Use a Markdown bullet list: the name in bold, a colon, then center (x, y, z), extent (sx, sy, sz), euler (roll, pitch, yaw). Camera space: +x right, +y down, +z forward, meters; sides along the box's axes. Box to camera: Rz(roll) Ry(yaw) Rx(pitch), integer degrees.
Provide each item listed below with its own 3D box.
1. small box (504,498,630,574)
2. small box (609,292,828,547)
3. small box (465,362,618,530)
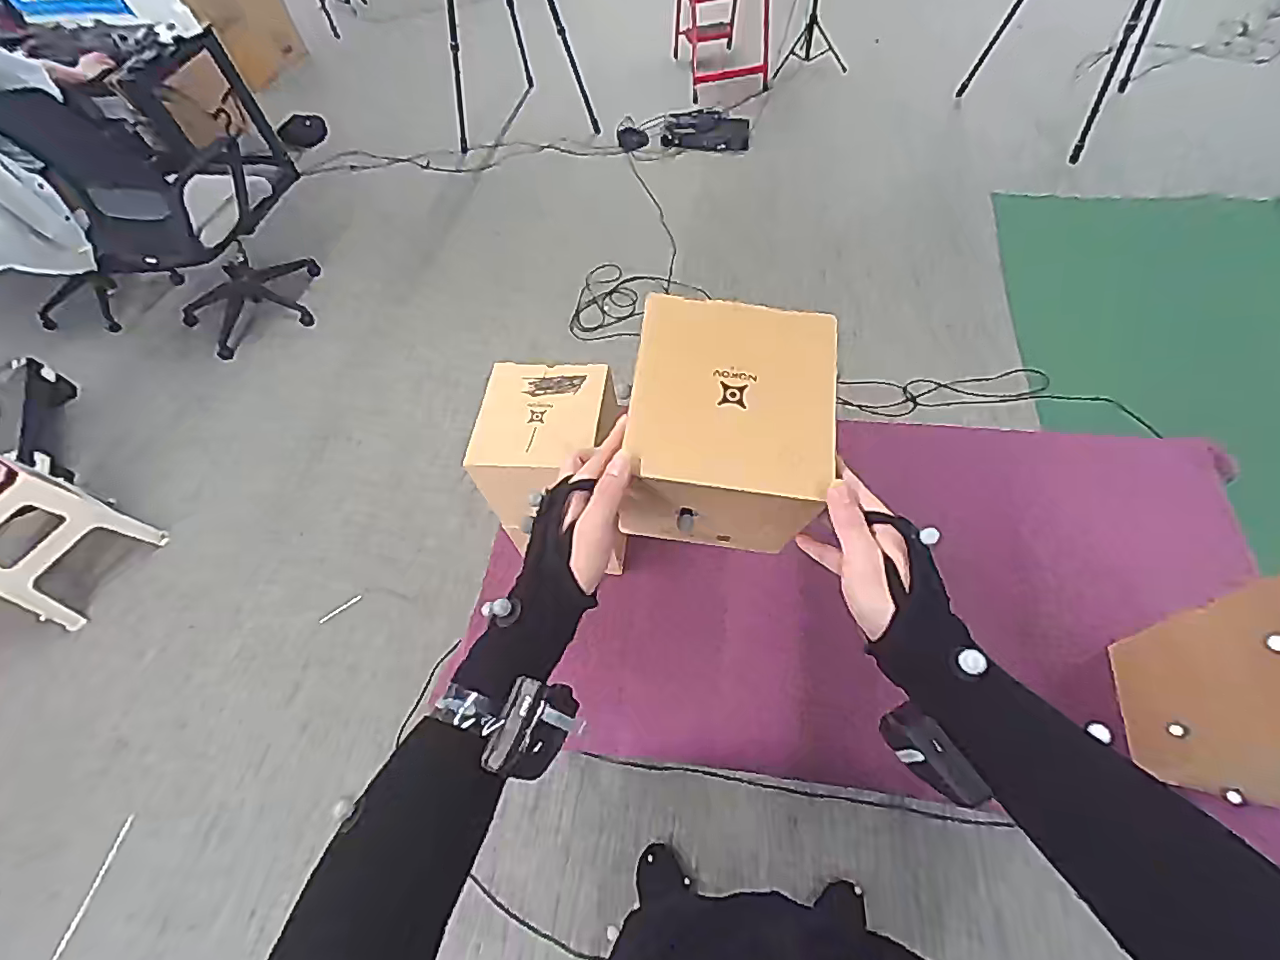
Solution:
- **small box**: center (-0.109, 0.040, 0.912), extent (0.168, 0.176, 0.179), euler (3, 59, 8)
- **small box**: center (0.068, -0.045, 0.510), extent (0.168, 0.176, 0.179), euler (7, 68, 2)
- **small box**: center (-0.123, -0.047, 0.774), extent (0.168, 0.176, 0.179), euler (2, 59, 8)
